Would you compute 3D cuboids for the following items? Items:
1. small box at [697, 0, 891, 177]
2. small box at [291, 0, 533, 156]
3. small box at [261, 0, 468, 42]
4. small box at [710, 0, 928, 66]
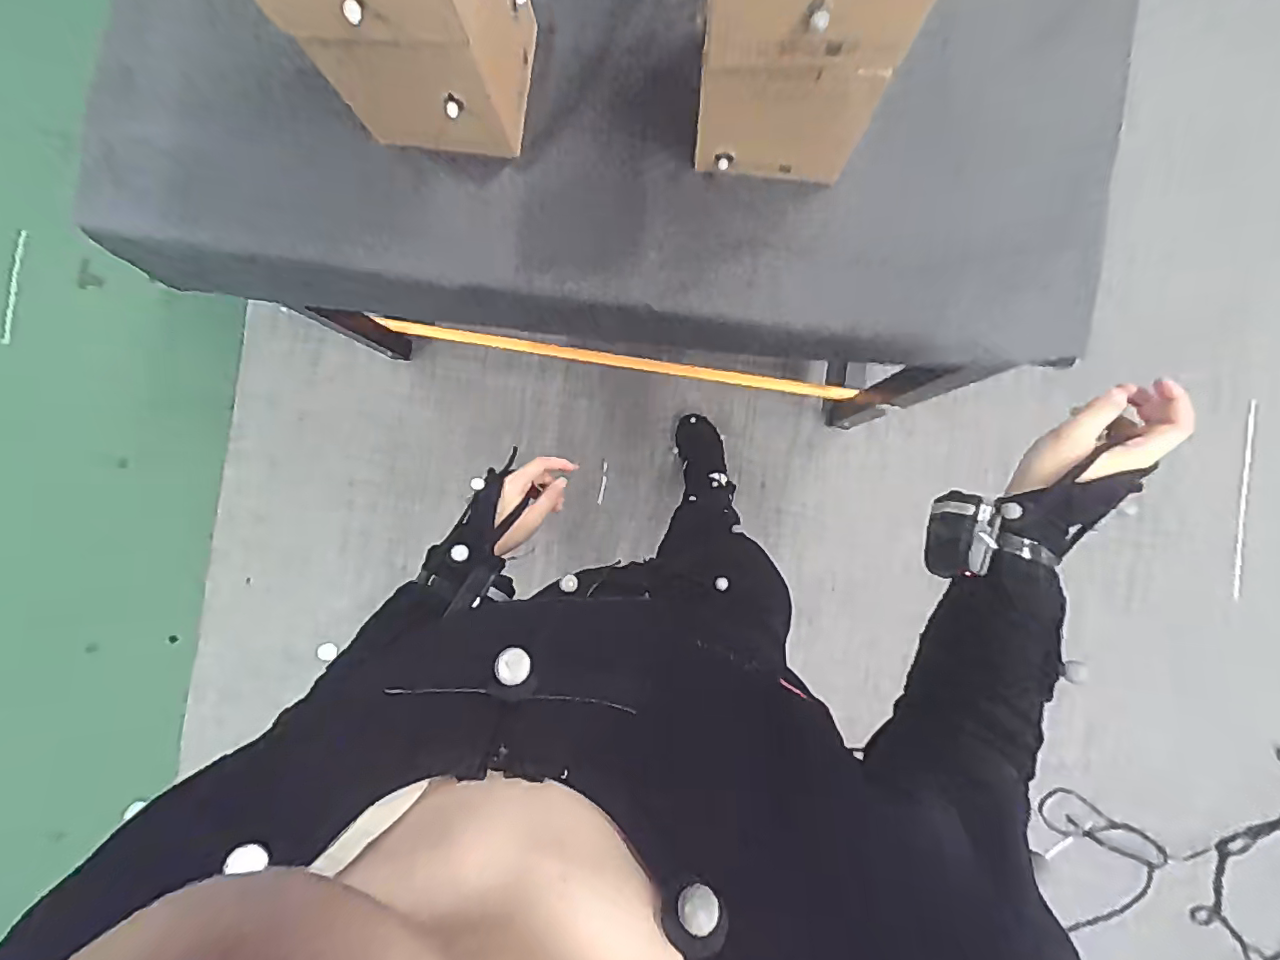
[{"bbox_3d":[0.150,-0.443,0.552,0.168,0.176,0.179,7,87,3],"label":"small box"},{"bbox_3d":[-0.222,-0.475,0.571,0.179,0.176,0.168,7,87,3],"label":"small box"},{"bbox_3d":[-0.230,-0.477,0.406,0.179,0.176,0.168,4,86,2],"label":"small box"},{"bbox_3d":[0.140,-0.448,0.388,0.168,0.176,0.179,2,88,3],"label":"small box"}]
